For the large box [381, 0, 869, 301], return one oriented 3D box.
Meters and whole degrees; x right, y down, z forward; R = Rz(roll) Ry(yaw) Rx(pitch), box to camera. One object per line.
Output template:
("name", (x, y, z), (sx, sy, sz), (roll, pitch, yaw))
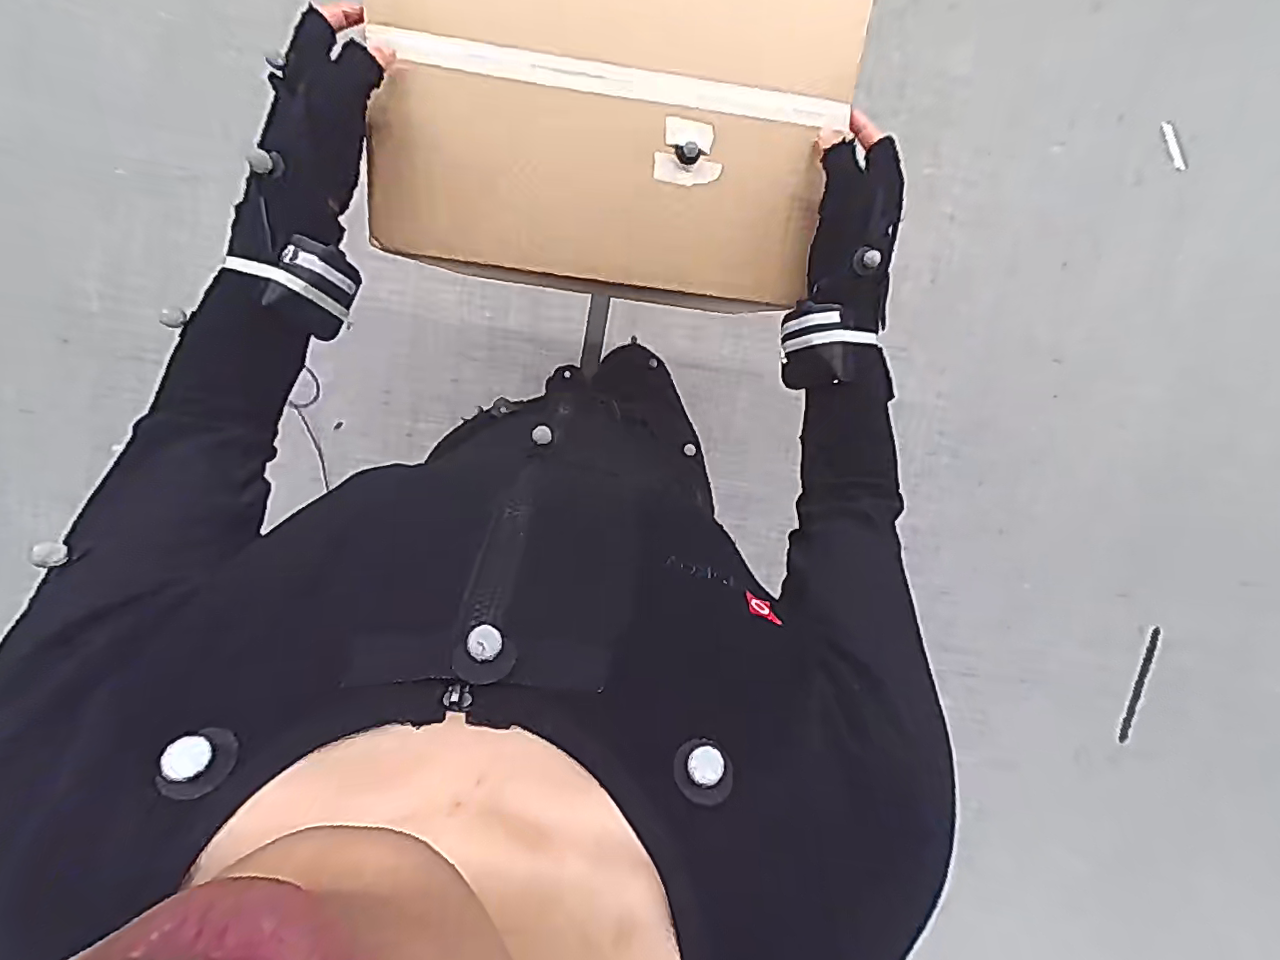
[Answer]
("large box", (-0.024, -0.387, 0.598), (0.408, 0.320, 0.320), (6, 107, -6))
